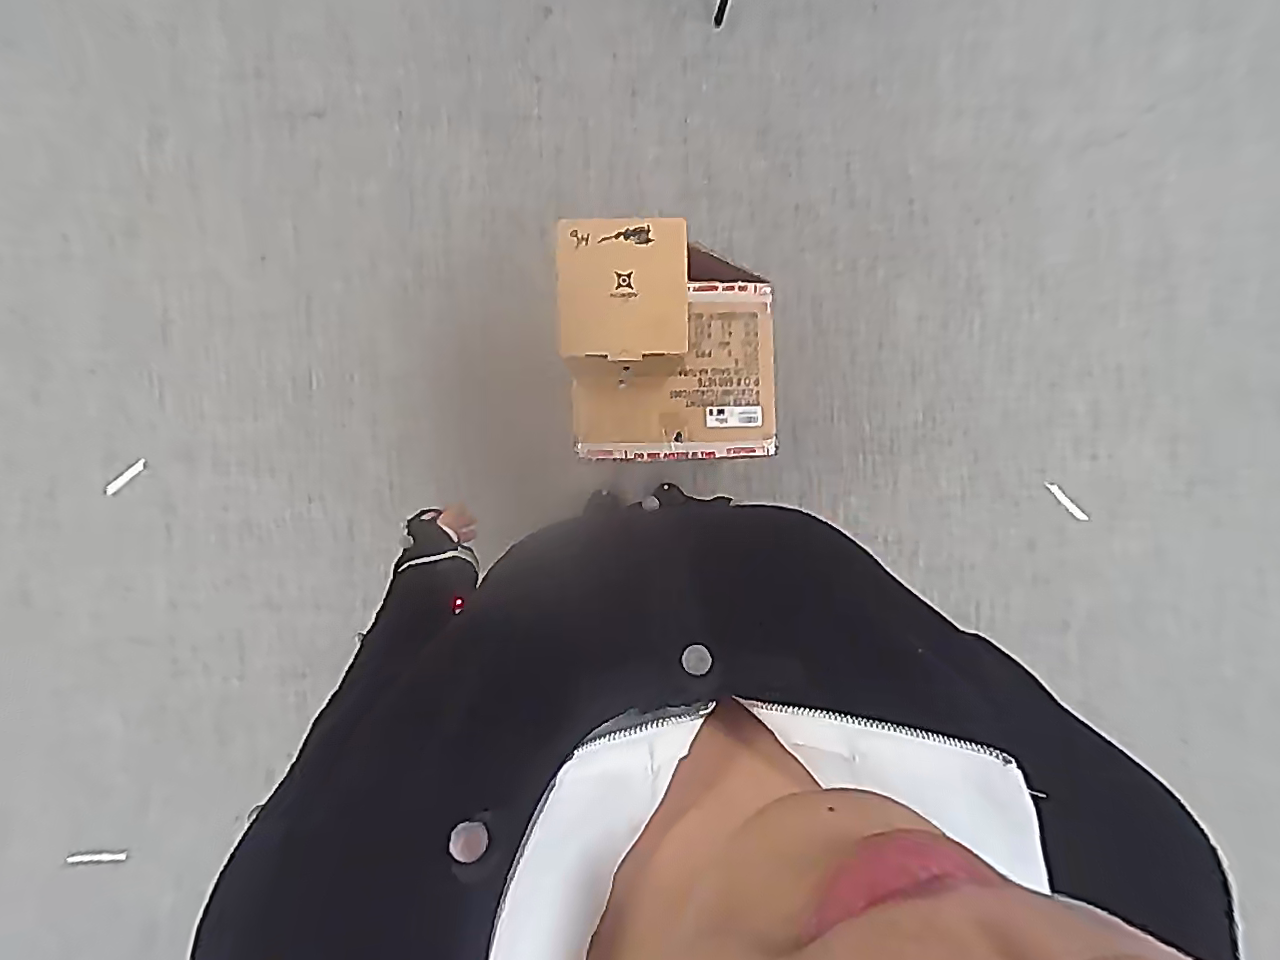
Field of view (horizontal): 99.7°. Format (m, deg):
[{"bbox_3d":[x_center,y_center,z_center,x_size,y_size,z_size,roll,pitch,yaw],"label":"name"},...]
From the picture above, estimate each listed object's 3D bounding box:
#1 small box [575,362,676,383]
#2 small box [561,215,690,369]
[{"bbox_3d":[-0.026,-0.269,0.933,0.168,0.176,0.179,-3,93,0],"label":"small box"},{"bbox_3d":[-0.018,-0.253,0.769,0.168,0.176,0.179,-1,93,-1],"label":"small box"}]
